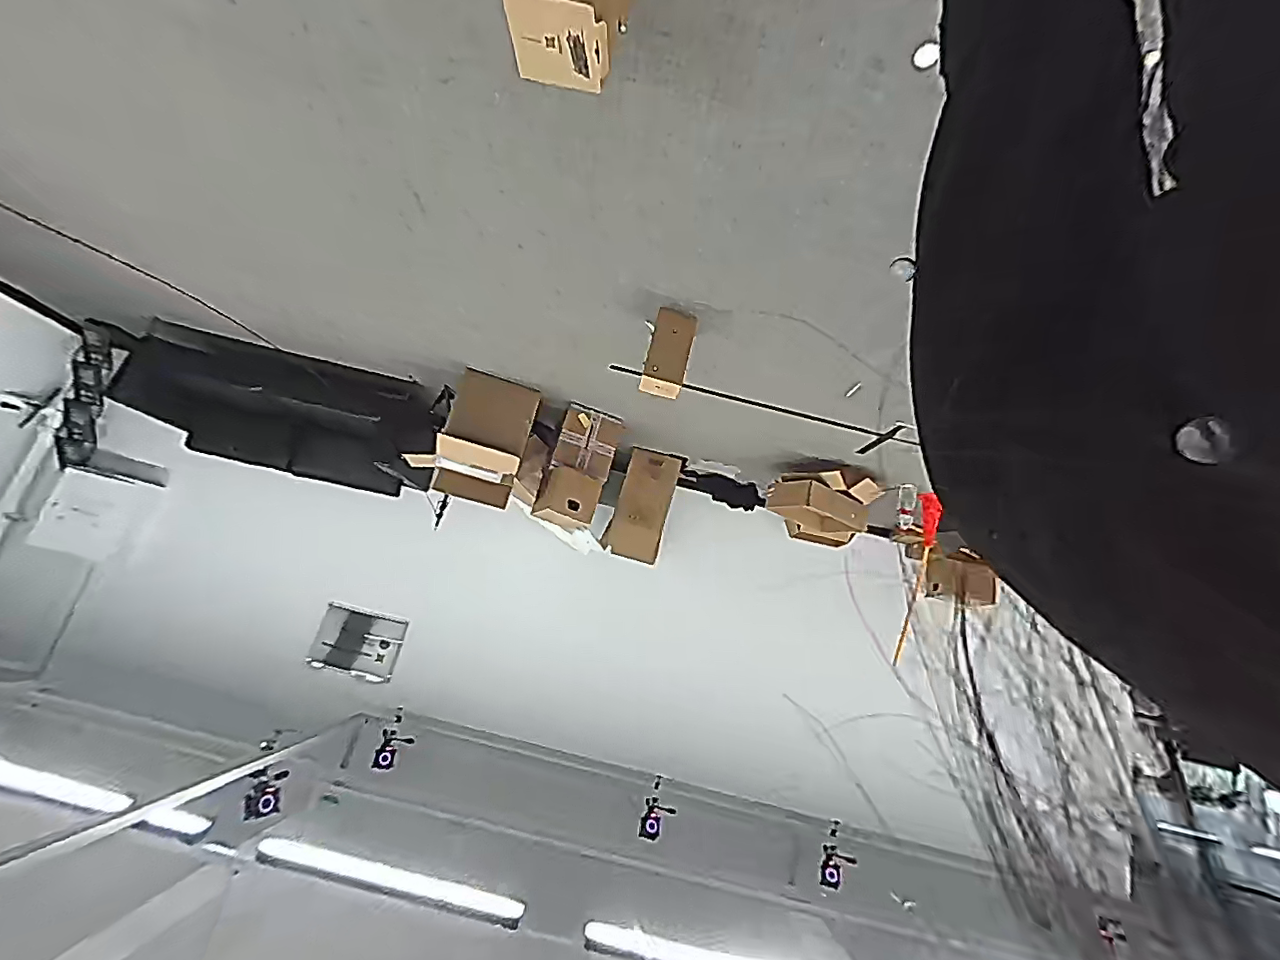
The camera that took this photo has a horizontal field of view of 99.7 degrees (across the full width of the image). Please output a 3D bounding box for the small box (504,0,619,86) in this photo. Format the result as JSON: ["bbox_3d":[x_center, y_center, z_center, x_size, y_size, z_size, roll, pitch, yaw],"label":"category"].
[{"bbox_3d":[-0.140,-0.900,1.024,0.179,0.176,0.168,14,166,4],"label":"small box"}]

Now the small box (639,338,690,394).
[{"bbox_3d":[0.106,-0.501,2.366,0.179,0.176,0.168,14,167,-3],"label":"small box"}]
